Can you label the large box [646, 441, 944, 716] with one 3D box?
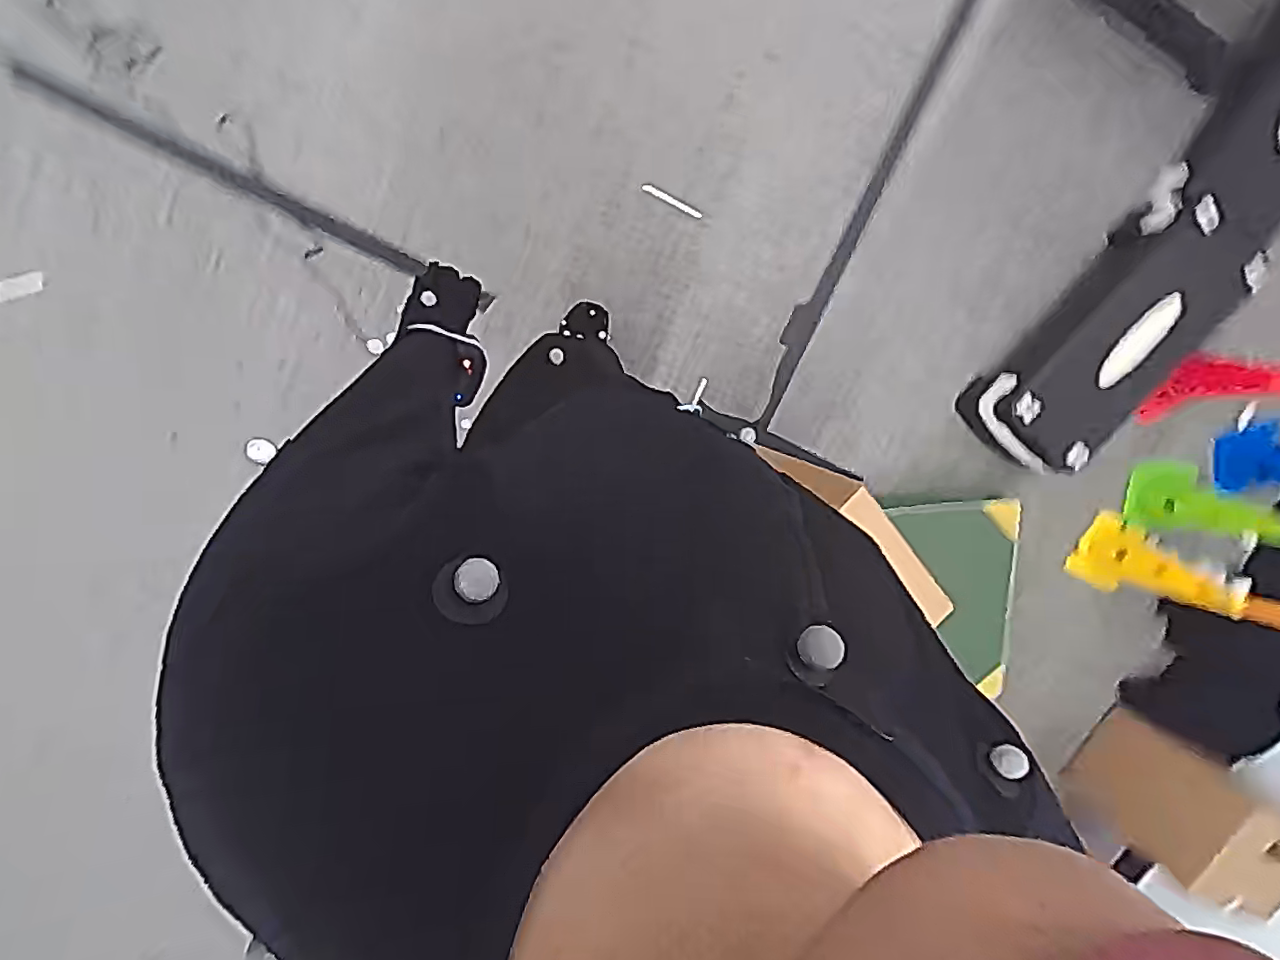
[{"bbox_3d":[0.269,0.161,1.049,0.320,0.408,0.320,-46,110,-1],"label":"large box"}]
